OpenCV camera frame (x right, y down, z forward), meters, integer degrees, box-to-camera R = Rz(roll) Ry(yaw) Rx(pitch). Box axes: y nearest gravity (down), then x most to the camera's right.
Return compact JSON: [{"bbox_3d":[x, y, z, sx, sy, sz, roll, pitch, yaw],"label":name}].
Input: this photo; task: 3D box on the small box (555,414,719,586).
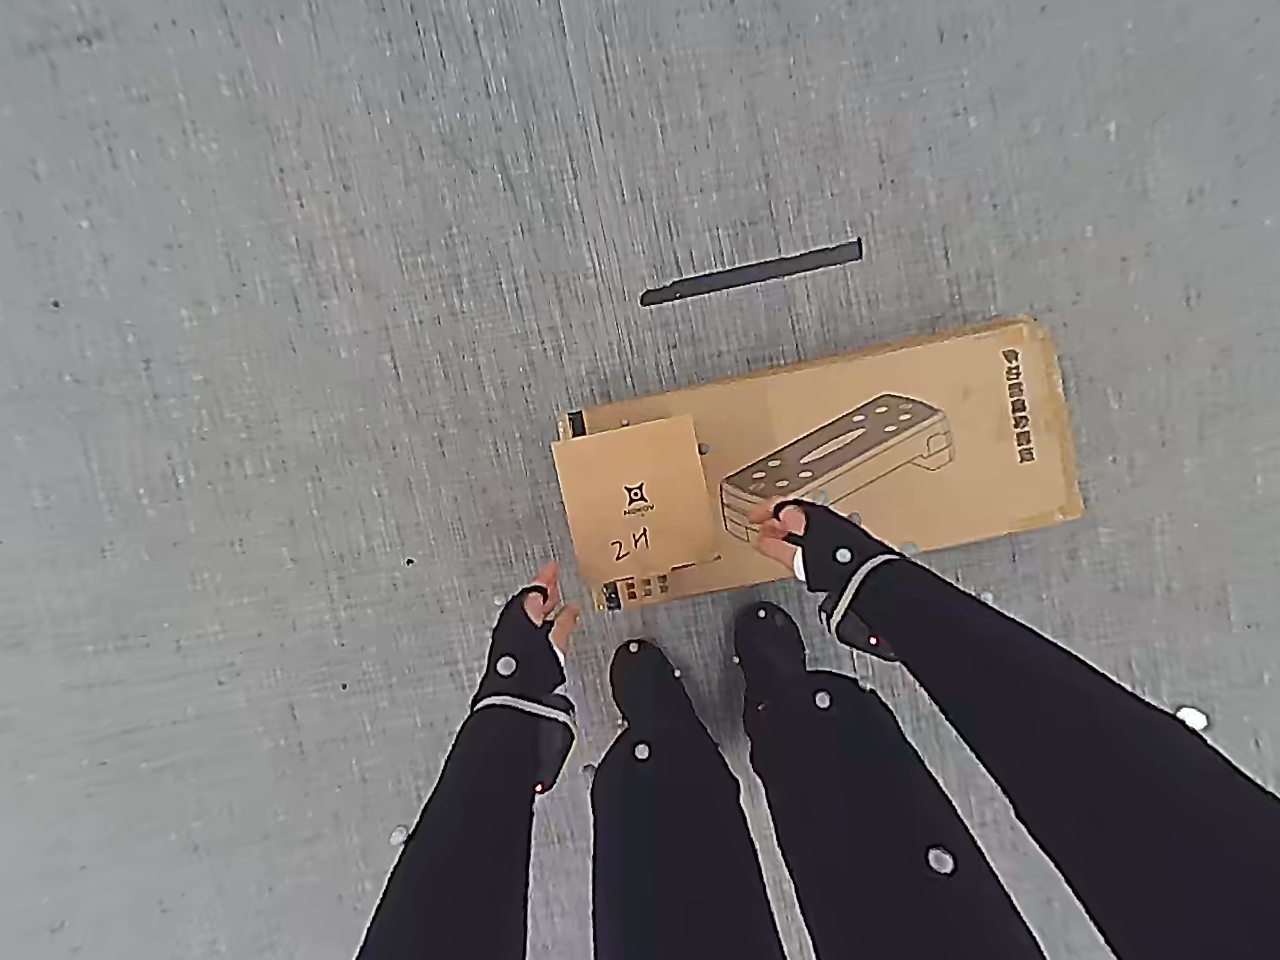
[{"bbox_3d":[-0.005,0.021,0.704,0.168,0.176,0.179,-12,93,1],"label":"small box"}]
